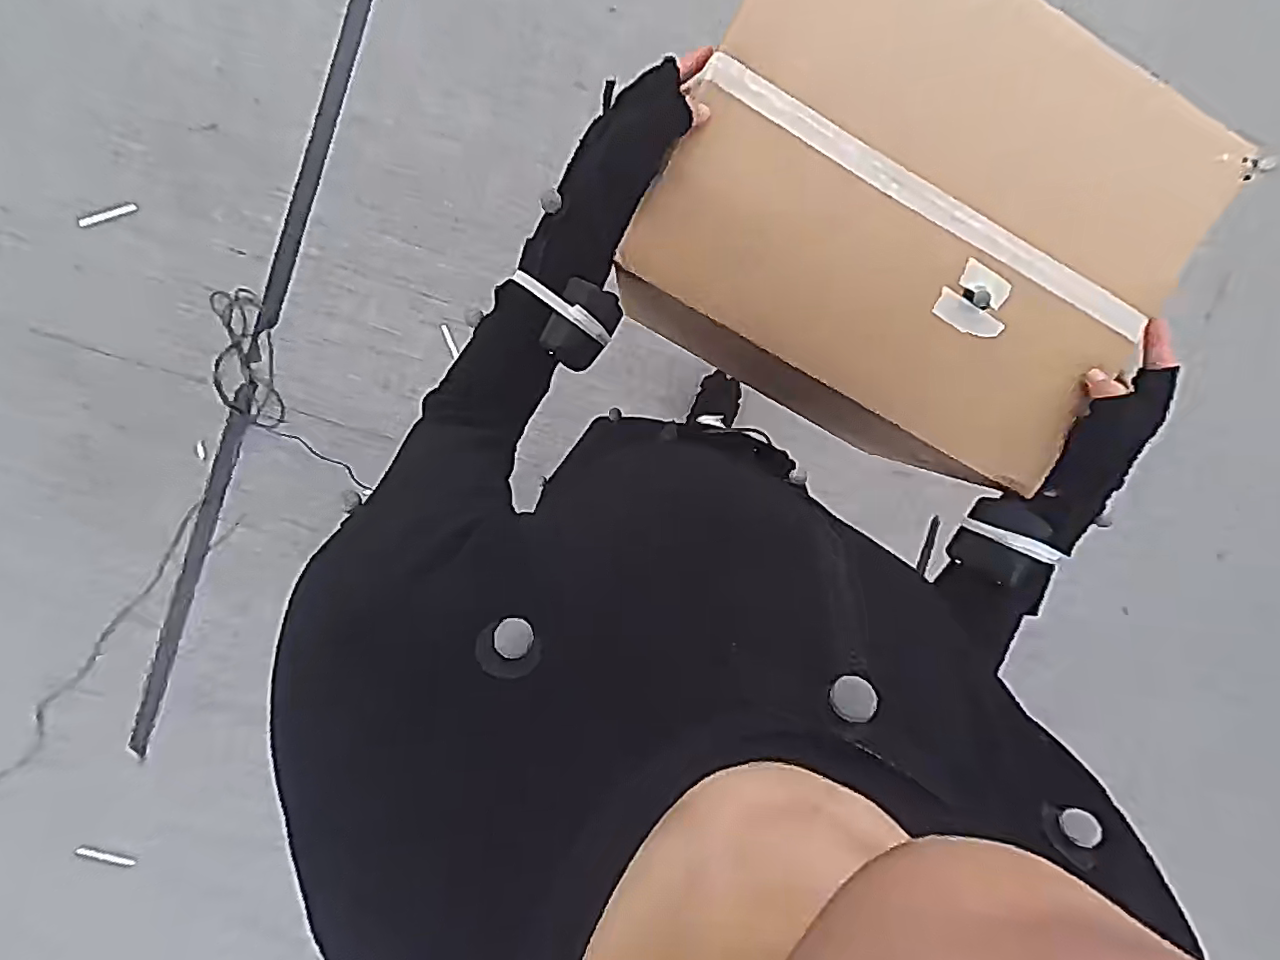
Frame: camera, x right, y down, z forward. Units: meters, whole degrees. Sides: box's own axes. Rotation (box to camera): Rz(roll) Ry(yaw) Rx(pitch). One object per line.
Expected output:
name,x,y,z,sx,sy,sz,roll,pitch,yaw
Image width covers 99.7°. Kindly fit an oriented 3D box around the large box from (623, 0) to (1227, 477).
large box,0.224,-0.248,0.581,0.408,0.320,0.320,28,99,-7
